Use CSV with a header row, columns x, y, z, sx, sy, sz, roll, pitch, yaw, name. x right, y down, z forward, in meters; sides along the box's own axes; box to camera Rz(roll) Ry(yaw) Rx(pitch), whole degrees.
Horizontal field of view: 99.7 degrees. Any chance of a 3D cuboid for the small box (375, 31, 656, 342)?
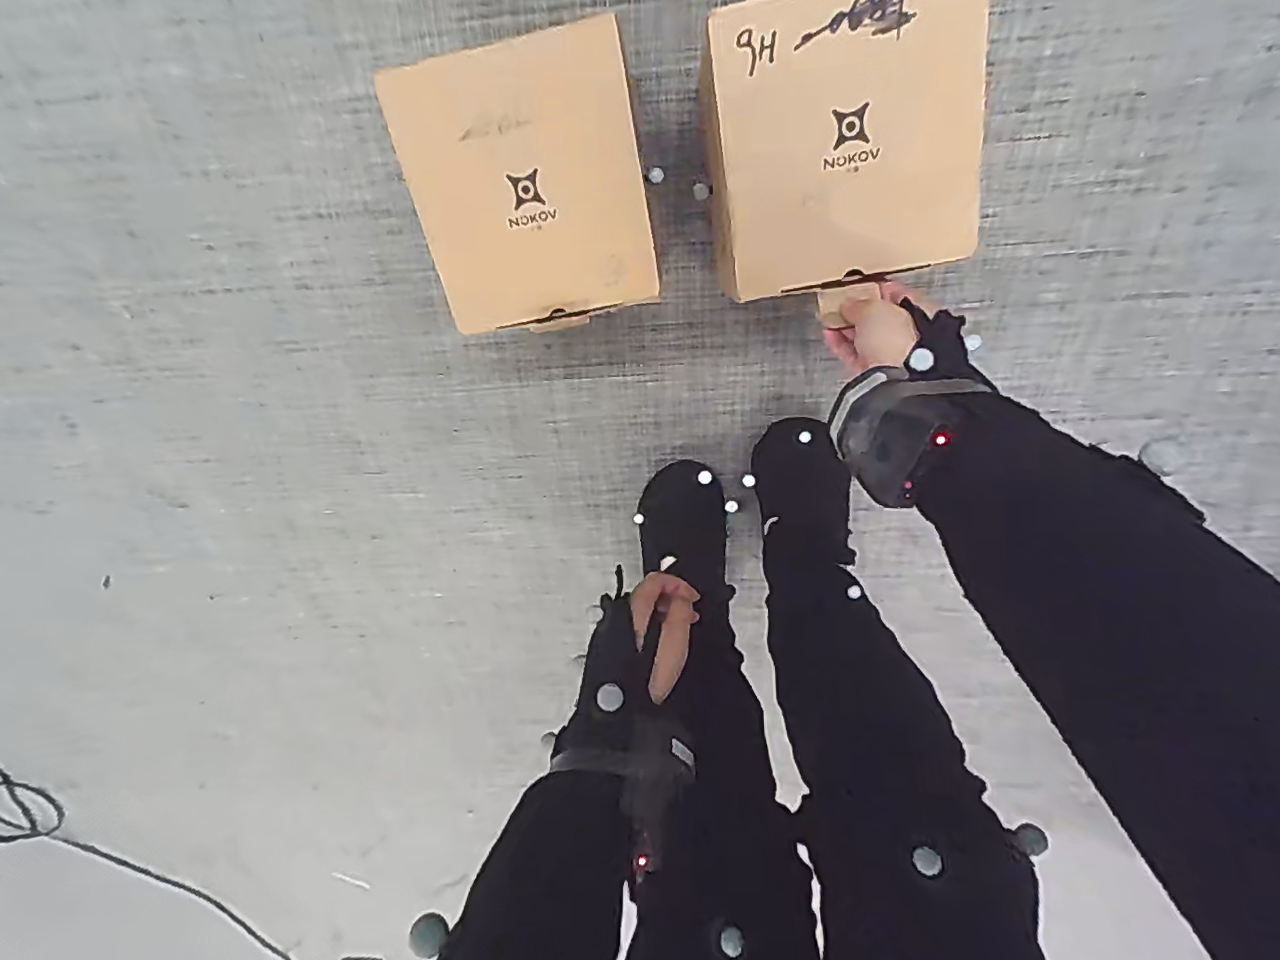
x,y,z,sx,sy,sz,roll,pitch,yaw,name
-0.081,-0.236,0.463,0.168,0.176,0.179,-10,116,7,small box
